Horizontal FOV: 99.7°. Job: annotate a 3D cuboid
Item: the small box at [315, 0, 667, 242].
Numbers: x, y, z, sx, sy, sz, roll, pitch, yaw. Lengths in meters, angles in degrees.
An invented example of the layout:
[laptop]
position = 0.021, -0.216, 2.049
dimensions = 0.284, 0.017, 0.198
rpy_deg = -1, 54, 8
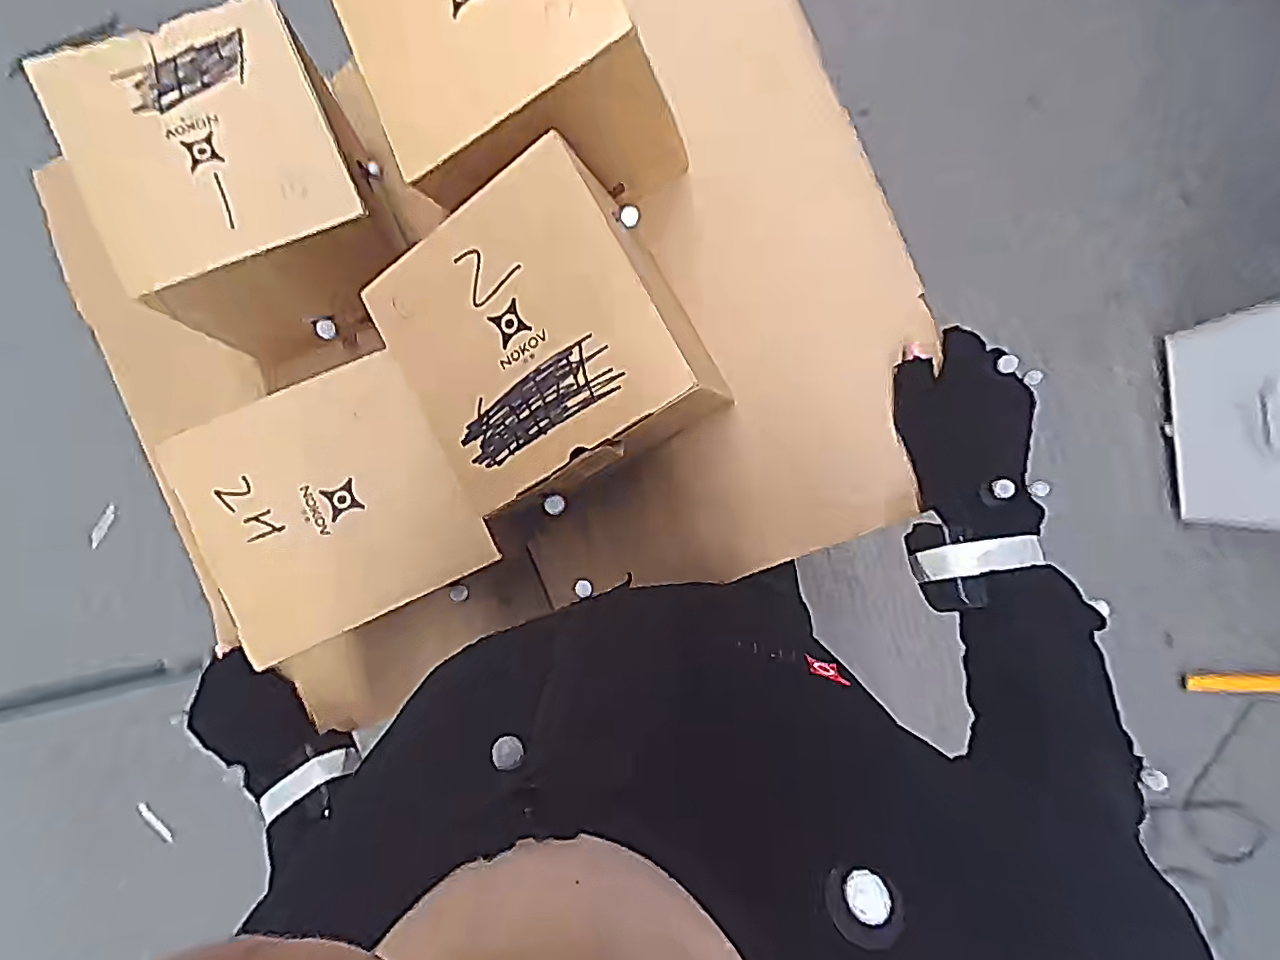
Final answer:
[small box]
position = -0.096, -0.304, 0.400
dimensions = 0.168, 0.176, 0.179
rpy_deg = -24, 87, 16
